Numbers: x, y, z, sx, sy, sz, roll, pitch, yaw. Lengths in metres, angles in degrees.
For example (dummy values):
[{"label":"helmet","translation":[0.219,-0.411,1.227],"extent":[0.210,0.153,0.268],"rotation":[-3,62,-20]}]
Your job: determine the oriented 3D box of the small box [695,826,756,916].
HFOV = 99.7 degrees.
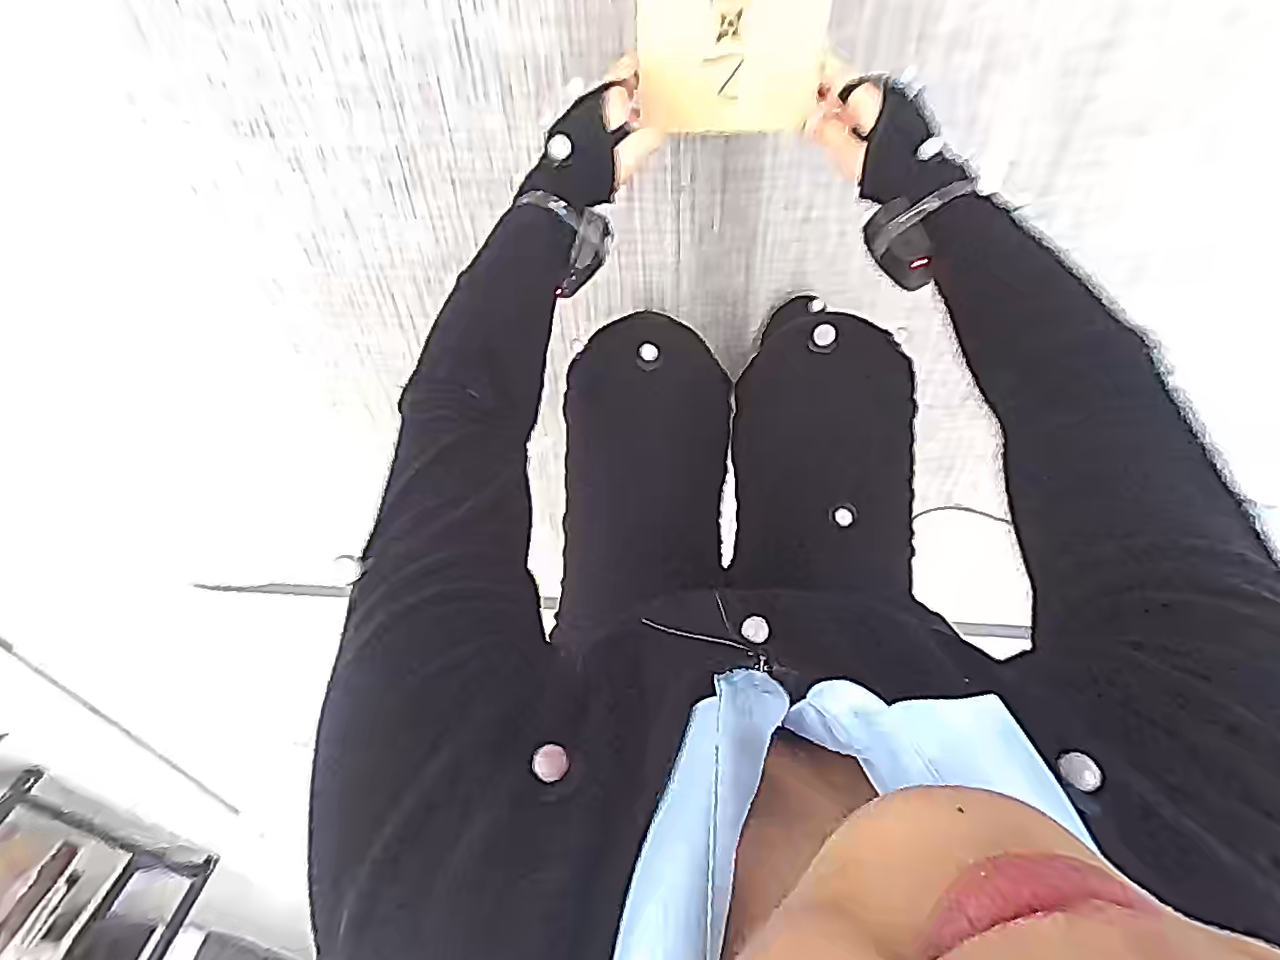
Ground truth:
[{"label":"small box","translation":[0.245,1.142,1.581],"extent":[0.168,0.176,0.179],"rotation":[-1,129,6]}]
